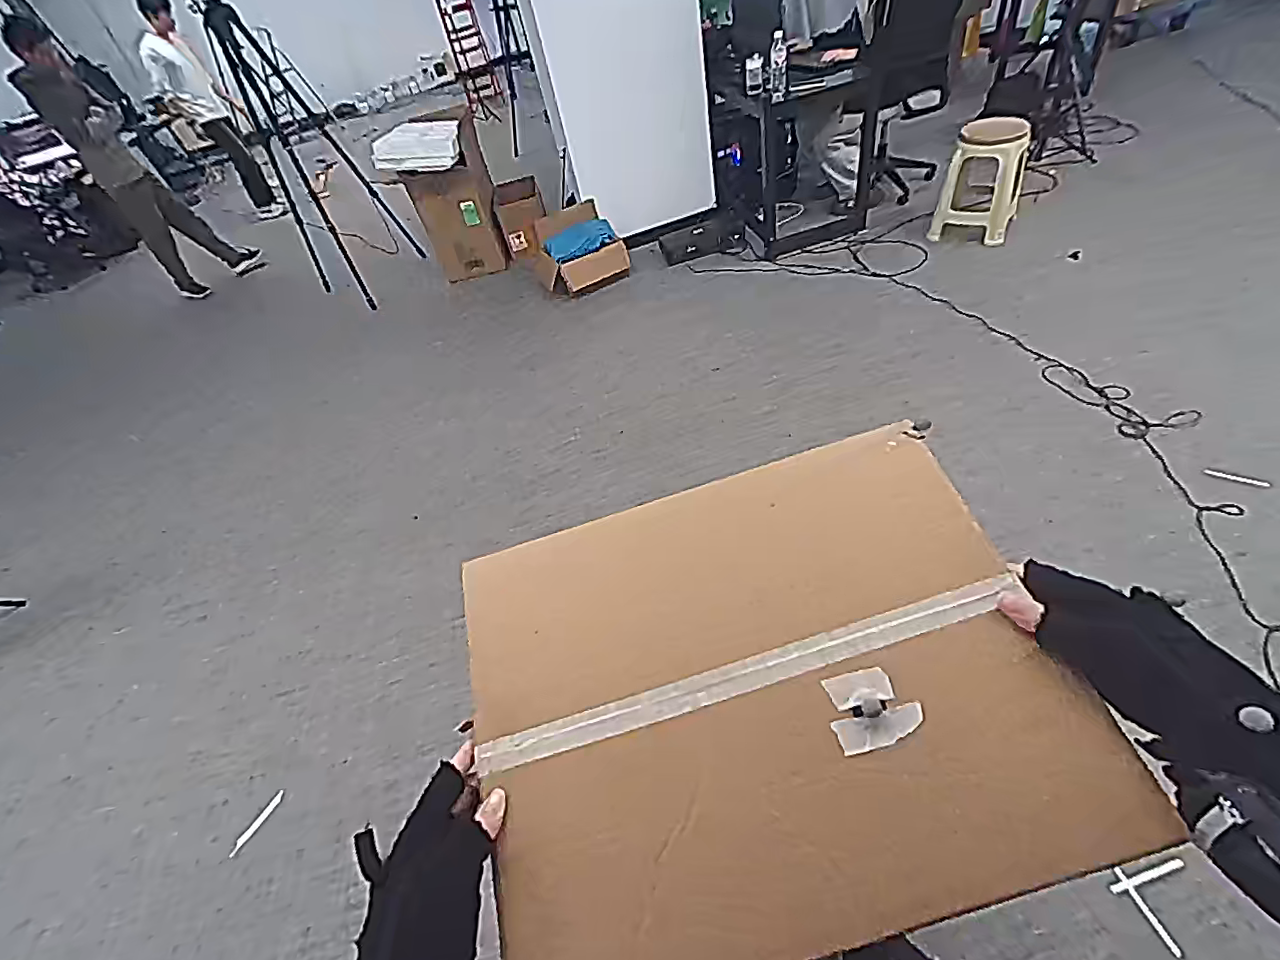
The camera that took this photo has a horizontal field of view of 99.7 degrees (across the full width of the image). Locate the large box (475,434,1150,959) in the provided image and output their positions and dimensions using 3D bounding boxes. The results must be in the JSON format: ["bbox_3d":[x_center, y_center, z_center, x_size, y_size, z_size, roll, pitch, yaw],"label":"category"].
[{"bbox_3d":[0.105,0.219,0.527,0.408,0.320,0.320,-19,60,0],"label":"large box"}]
